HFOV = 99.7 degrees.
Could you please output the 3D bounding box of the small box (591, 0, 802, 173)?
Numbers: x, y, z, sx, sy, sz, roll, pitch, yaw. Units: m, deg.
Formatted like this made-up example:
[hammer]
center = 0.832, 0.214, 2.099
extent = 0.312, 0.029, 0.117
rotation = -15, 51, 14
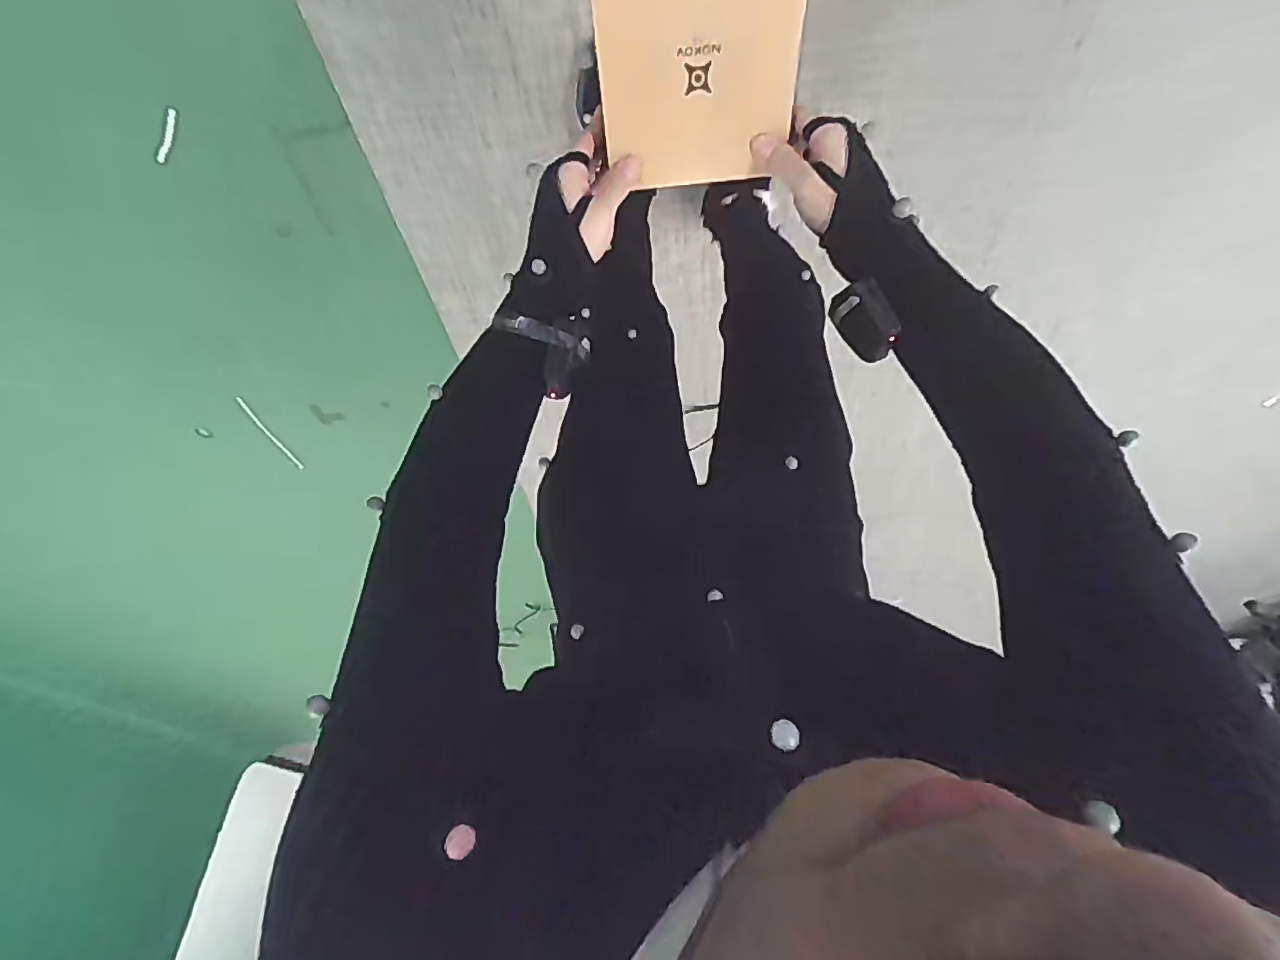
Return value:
[small box]
center = 0.044, -0.413, 0.491
extent = 0.168, 0.176, 0.179
rotation = -6, 141, 3
